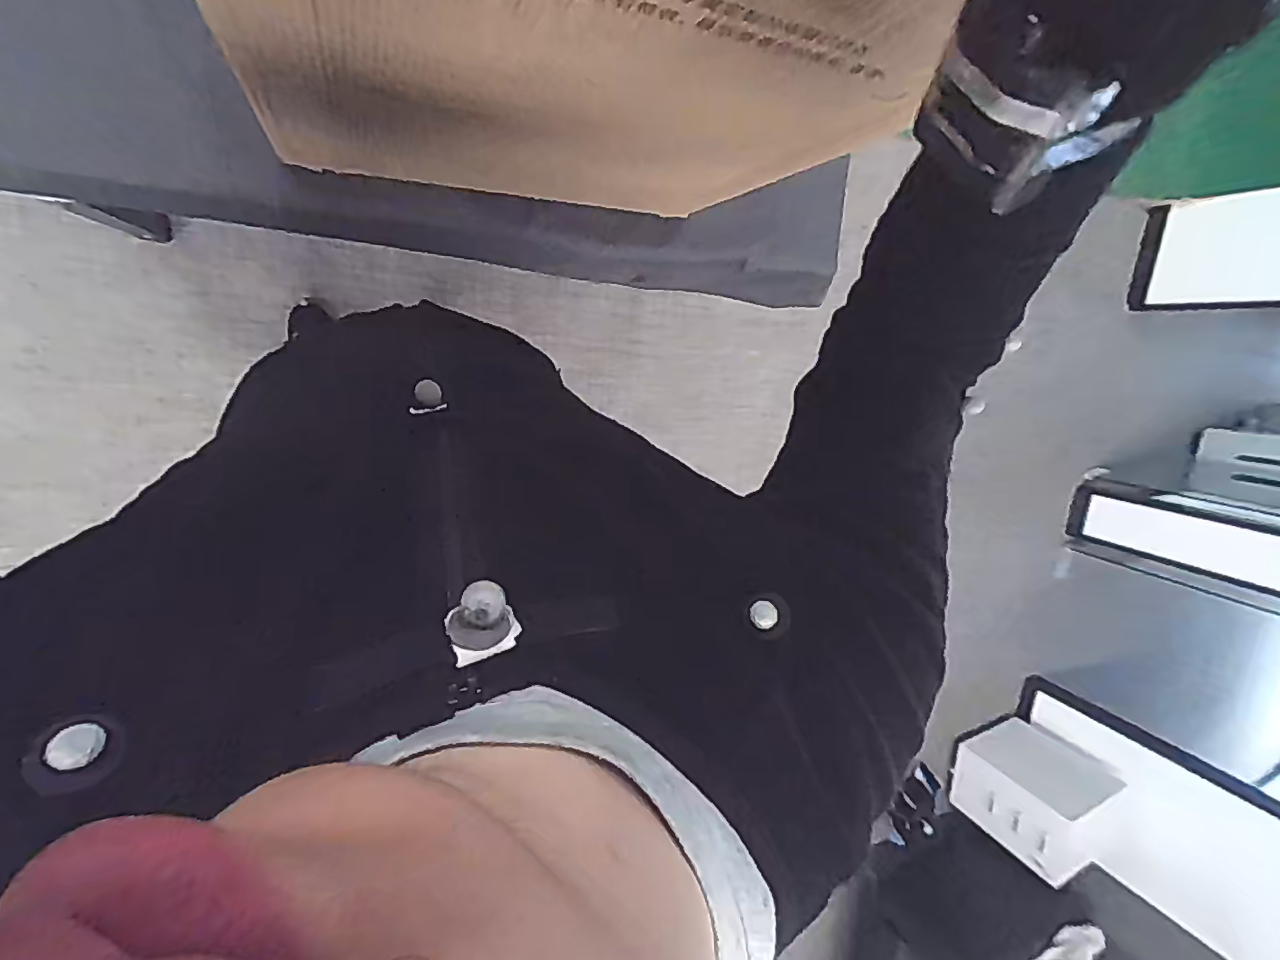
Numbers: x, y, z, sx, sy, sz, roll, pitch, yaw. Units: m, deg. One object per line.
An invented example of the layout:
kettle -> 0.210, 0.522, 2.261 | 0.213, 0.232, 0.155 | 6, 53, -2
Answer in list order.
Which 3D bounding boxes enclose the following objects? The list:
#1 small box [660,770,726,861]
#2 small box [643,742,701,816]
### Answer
small box -> 0.184, 1.169, 1.897 | 0.168, 0.176, 0.179 | -15, 110, -20
small box -> 0.123, 1.129, 2.044 | 0.168, 0.176, 0.179 | -16, 112, -20
